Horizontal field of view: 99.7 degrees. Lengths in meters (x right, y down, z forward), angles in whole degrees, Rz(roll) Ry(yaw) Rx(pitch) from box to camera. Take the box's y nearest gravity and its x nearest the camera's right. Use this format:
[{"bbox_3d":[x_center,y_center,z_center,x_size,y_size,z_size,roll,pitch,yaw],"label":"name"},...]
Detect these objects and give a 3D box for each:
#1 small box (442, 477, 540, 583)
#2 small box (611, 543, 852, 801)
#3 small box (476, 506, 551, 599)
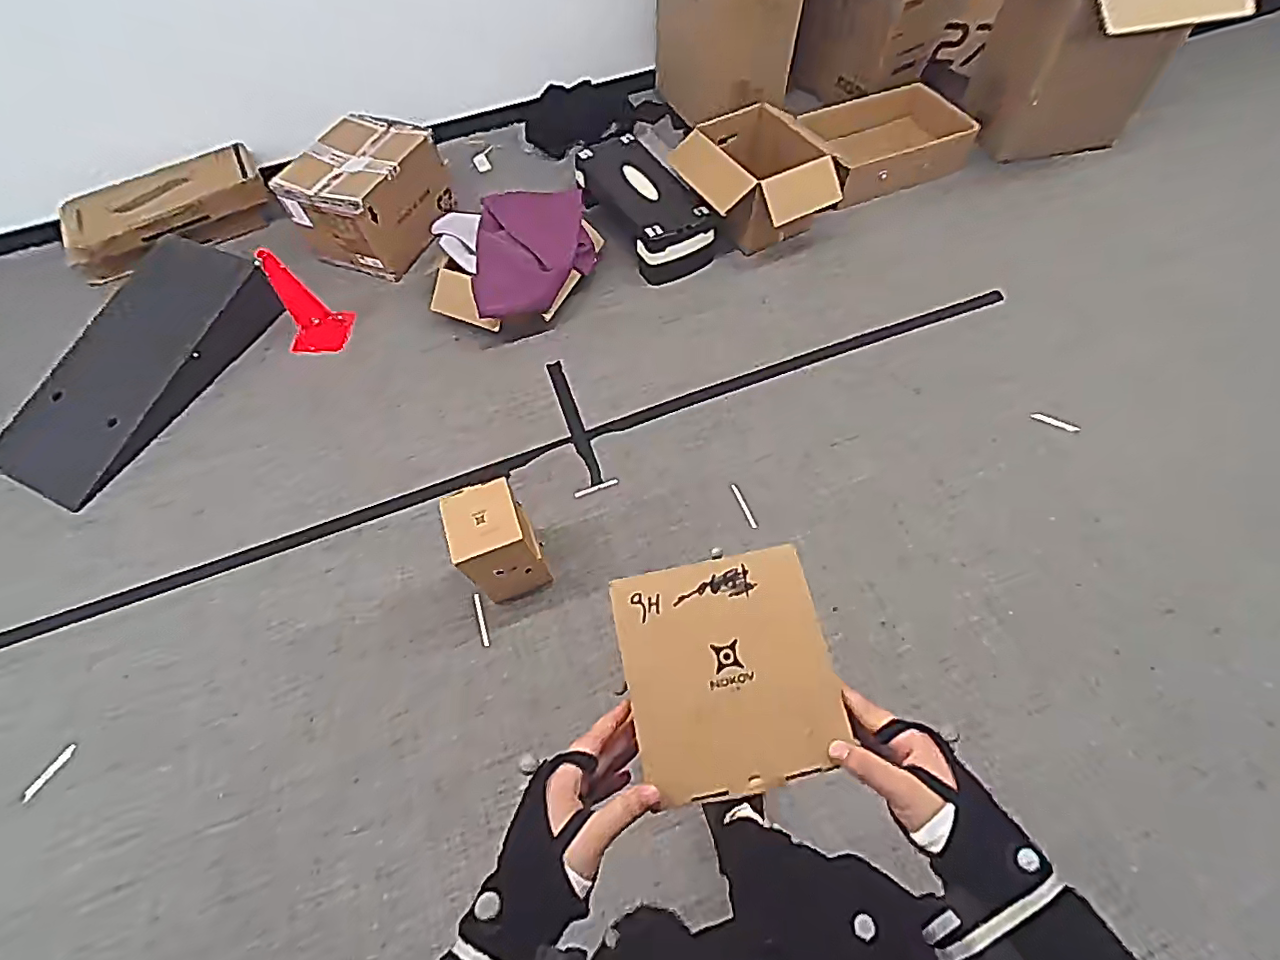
[{"bbox_3d":[-0.359,0.126,1.316,0.168,0.176,0.179,-21,63,-6],"label":"small box"},{"bbox_3d":[0.070,0.172,0.516,0.168,0.176,0.179,-11,73,-5],"label":"small box"},{"bbox_3d":[-0.349,0.200,1.461,0.179,0.176,0.168,-21,62,-8],"label":"small box"}]
